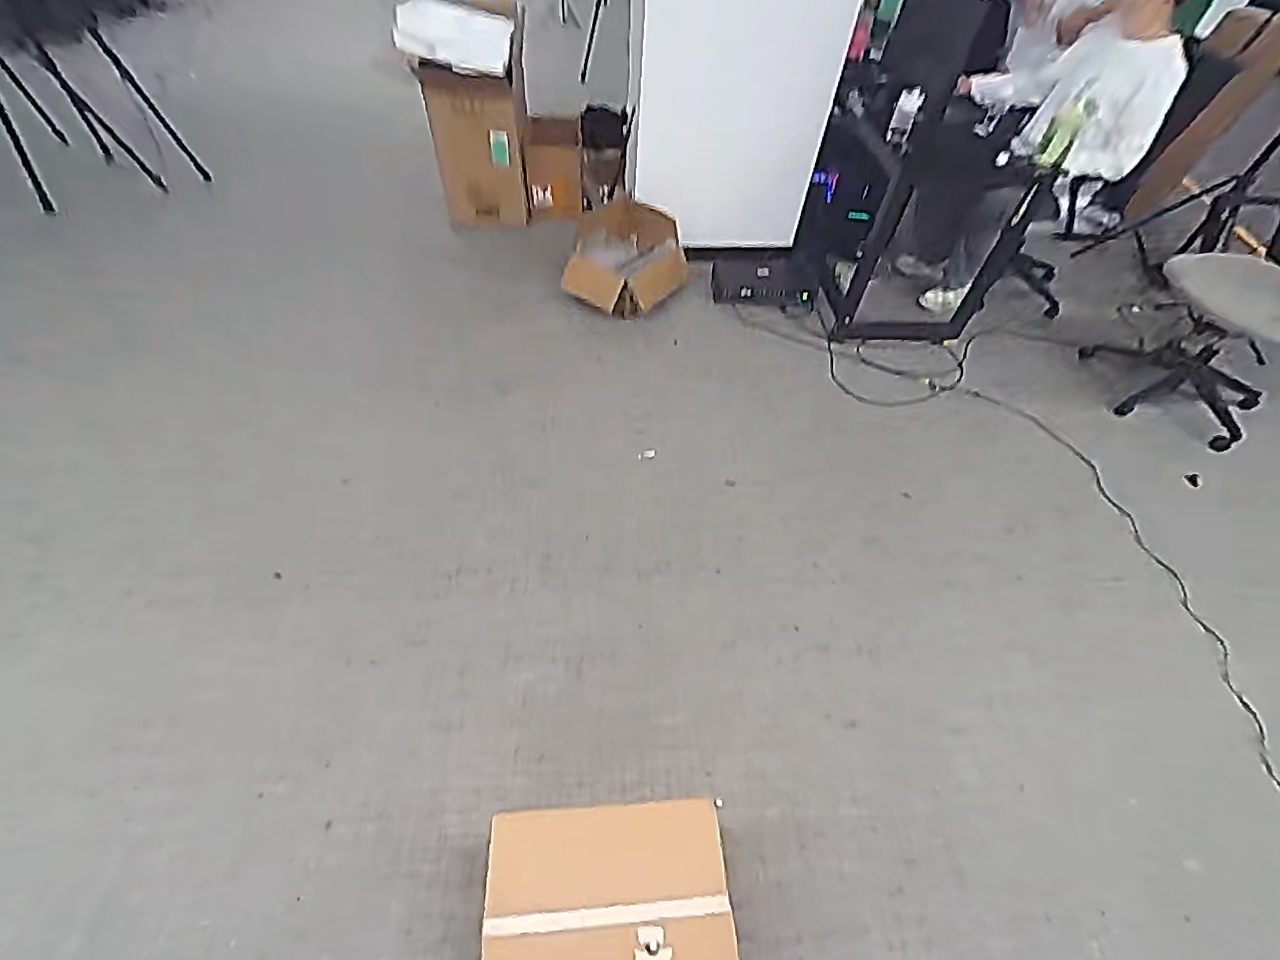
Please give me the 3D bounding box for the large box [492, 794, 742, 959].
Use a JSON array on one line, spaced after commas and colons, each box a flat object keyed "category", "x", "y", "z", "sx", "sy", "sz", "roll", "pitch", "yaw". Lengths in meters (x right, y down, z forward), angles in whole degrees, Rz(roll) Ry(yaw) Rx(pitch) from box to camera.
[{"category": "large box", "x": -0.051, "y": 0.806, "z": 1.006, "sx": 0.408, "sy": 0.320, "sz": 0.320, "roll": -2, "pitch": 51, "yaw": -6}]
